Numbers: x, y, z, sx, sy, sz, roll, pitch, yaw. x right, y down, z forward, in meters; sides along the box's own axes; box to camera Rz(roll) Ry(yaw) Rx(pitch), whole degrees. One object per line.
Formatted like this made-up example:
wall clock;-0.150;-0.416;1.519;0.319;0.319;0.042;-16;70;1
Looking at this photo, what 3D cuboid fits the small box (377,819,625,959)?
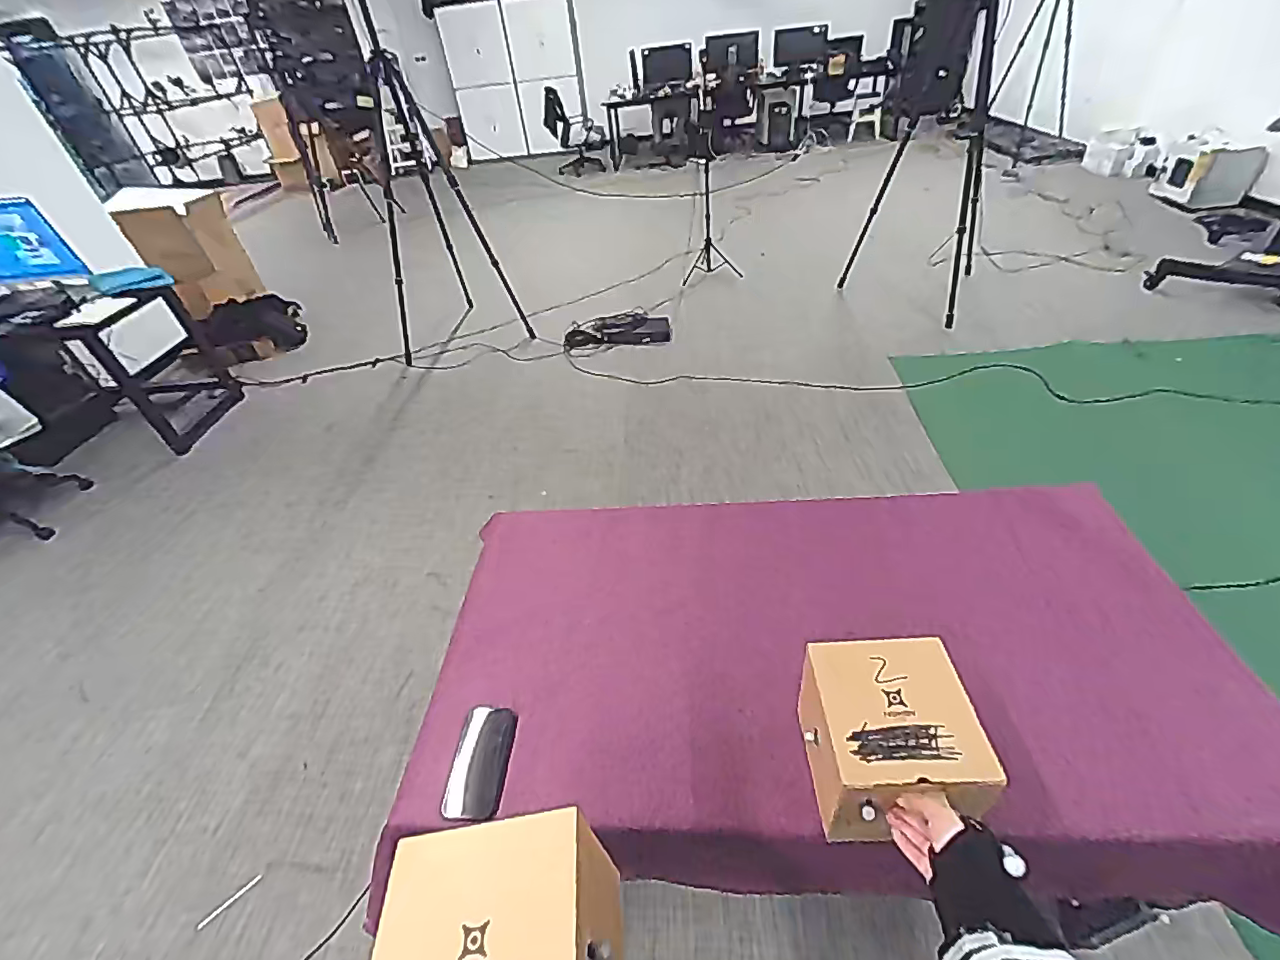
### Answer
small box;-0.108;0.422;0.452;0.168;0.176;0.179;-11;38;3
